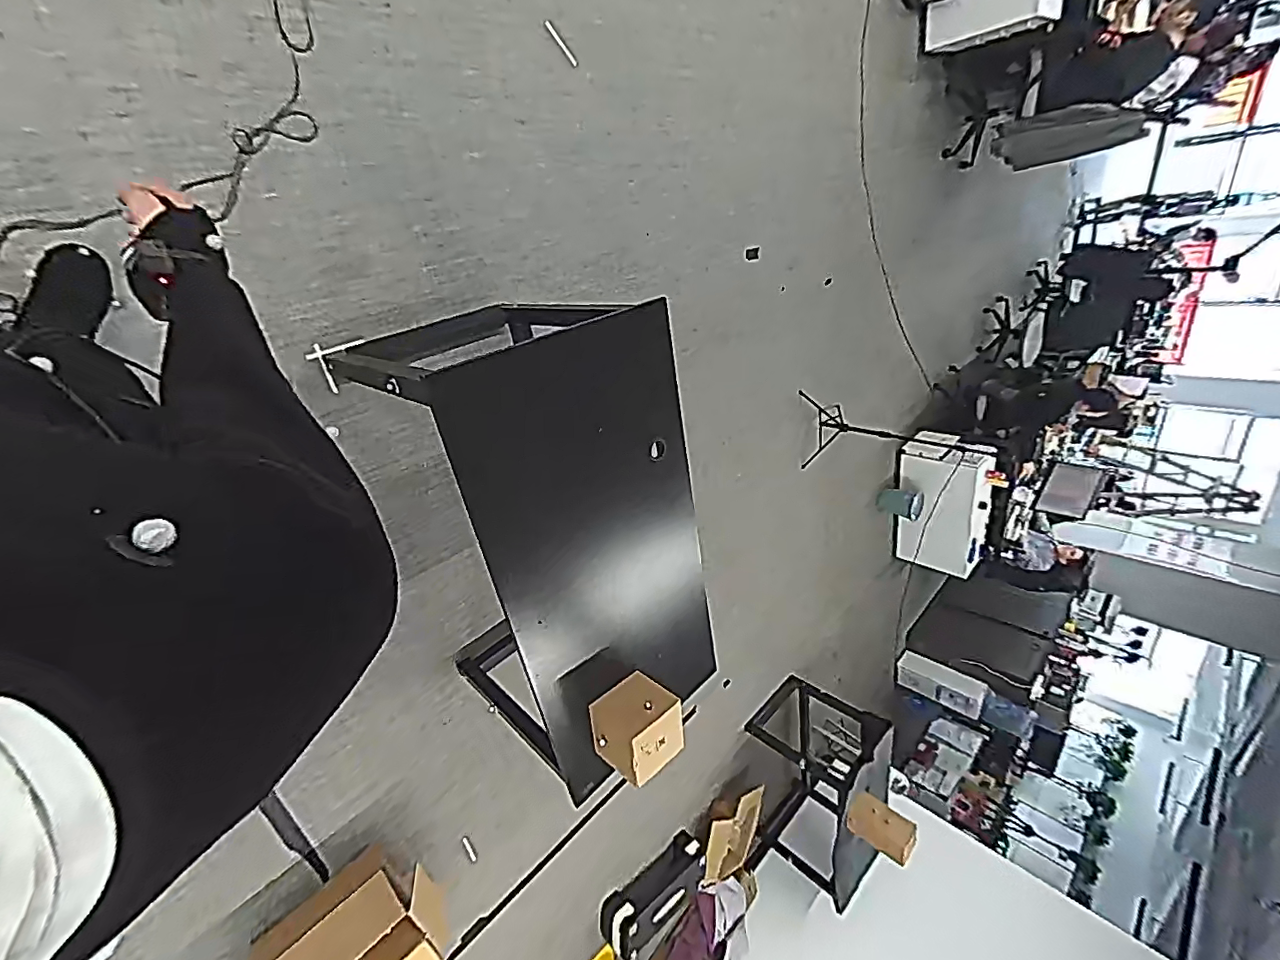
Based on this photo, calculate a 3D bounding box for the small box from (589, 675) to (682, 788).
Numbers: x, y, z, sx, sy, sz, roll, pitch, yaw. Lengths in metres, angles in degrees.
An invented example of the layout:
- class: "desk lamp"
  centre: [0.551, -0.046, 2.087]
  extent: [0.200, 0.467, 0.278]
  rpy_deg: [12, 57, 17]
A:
- class: "small box"
  centre: [-0.010, 0.647, 1.415]
  extent: [0.179, 0.176, 0.168]
  rpy_deg: [-23, 117, -38]
